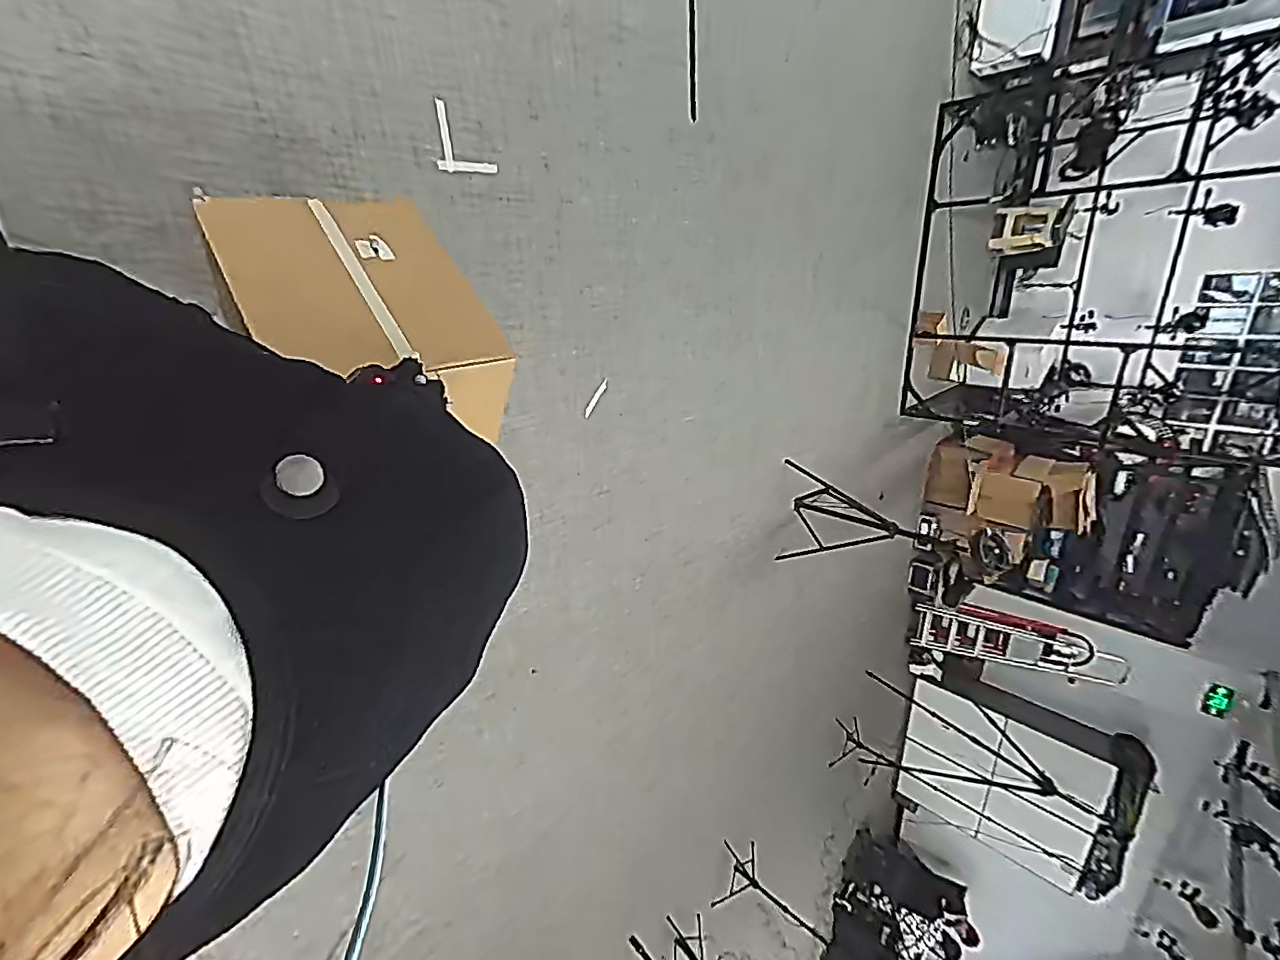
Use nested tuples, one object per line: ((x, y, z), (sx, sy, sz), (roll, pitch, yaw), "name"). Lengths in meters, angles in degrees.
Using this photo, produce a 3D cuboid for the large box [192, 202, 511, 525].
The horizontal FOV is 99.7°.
((-0.470, -0.202, 0.906), (0.320, 0.408, 0.320), (-20, 153, -38), "large box")
